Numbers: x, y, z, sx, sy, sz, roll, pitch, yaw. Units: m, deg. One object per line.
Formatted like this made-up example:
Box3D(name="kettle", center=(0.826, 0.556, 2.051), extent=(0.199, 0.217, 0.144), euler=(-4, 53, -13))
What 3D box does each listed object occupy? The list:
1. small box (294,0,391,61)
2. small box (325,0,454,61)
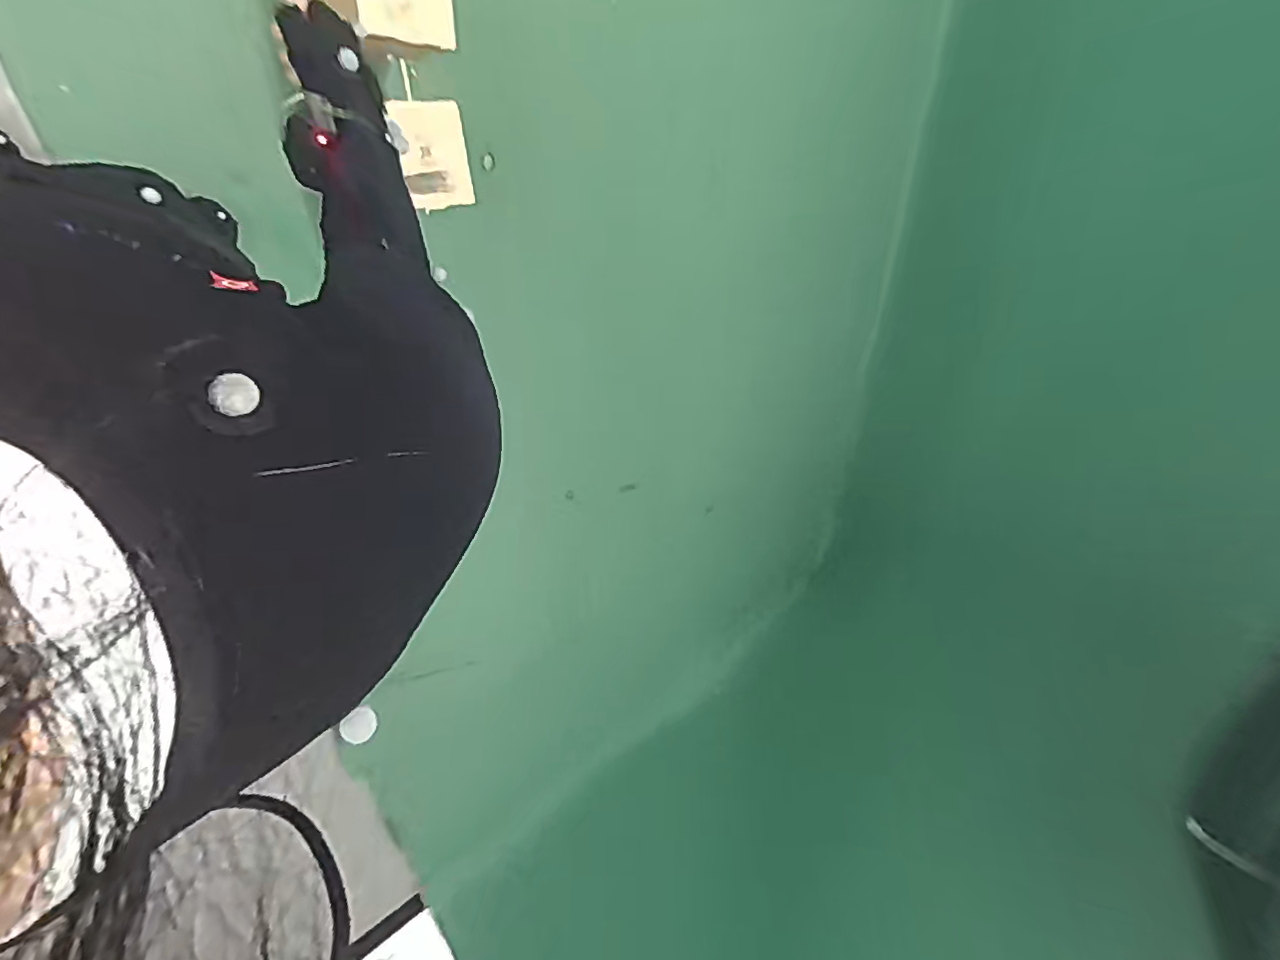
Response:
Box3D(name="small box", center=(-0.563, -0.936, 1.047), extent=(0.179, 0.176, 0.168), euler=(-19, 125, -37))
Box3D(name="small box", center=(-0.449, -0.868, 0.948), extent=(0.168, 0.176, 0.179), euler=(-20, 125, -37))
